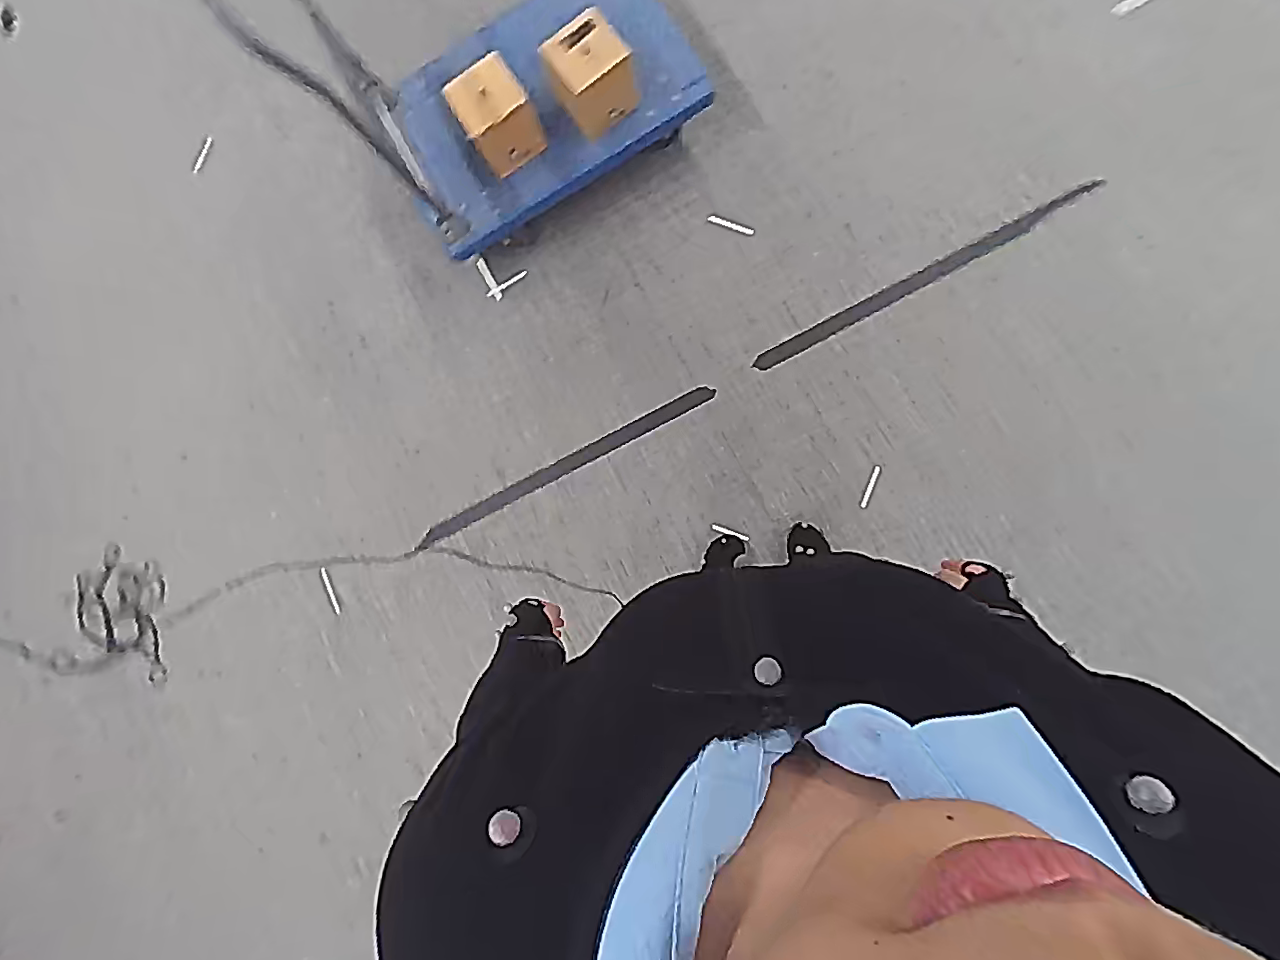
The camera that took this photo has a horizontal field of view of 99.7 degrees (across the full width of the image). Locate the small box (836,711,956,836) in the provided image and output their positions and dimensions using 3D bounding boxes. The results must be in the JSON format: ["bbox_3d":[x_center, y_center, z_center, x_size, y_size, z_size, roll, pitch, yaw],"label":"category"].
[{"bbox_3d":[0.609,0.699,1.310,0.168,0.176,0.179,-39,80,1],"label":"small box"}]

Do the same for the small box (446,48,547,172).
[{"bbox_3d":[-0.374,-0.972,1.434,0.168,0.176,0.179,-33,81,3],"label":"small box"}]
